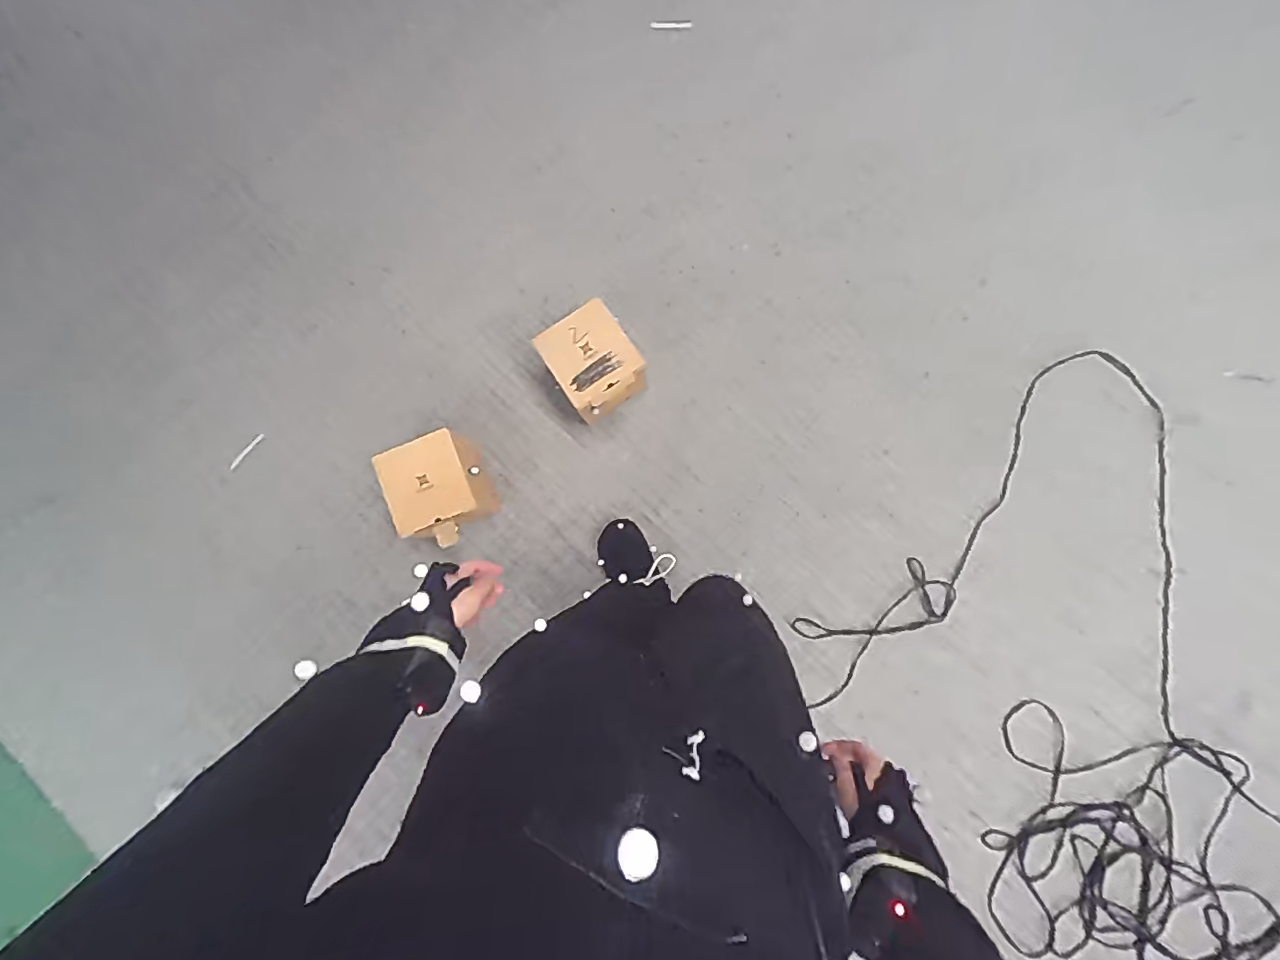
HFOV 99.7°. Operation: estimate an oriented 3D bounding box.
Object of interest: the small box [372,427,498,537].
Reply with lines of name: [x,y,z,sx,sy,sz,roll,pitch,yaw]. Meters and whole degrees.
small box: [-0.421,0.010,1.136,0.168,0.176,0.179,-22,86,0]
